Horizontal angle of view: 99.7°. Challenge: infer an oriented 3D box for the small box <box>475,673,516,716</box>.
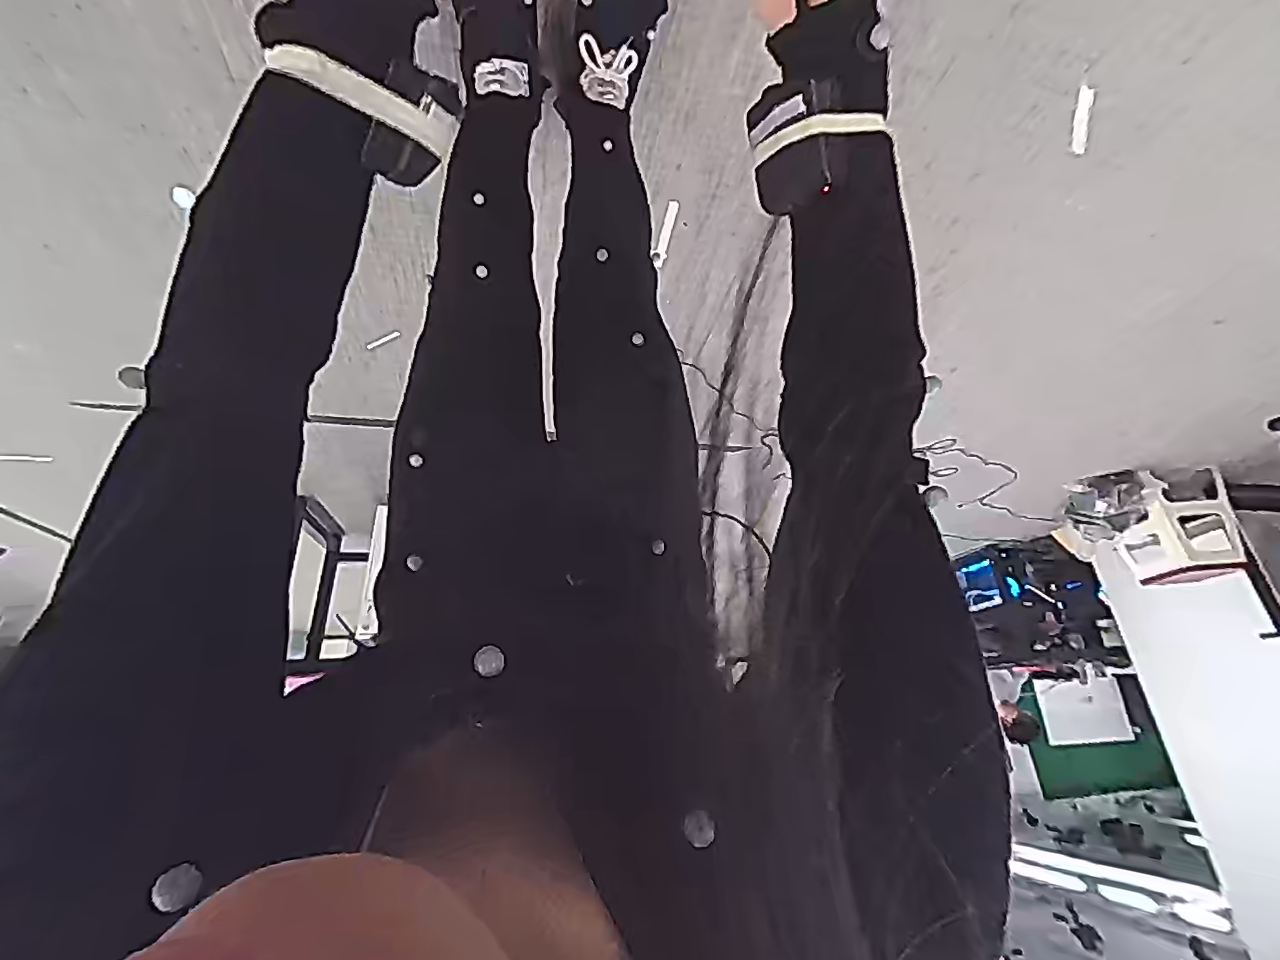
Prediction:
[{"bbox_3d":[-0.671,0.997,2.511,0.168,0.176,0.179,4,153,-19],"label":"small box"}]
